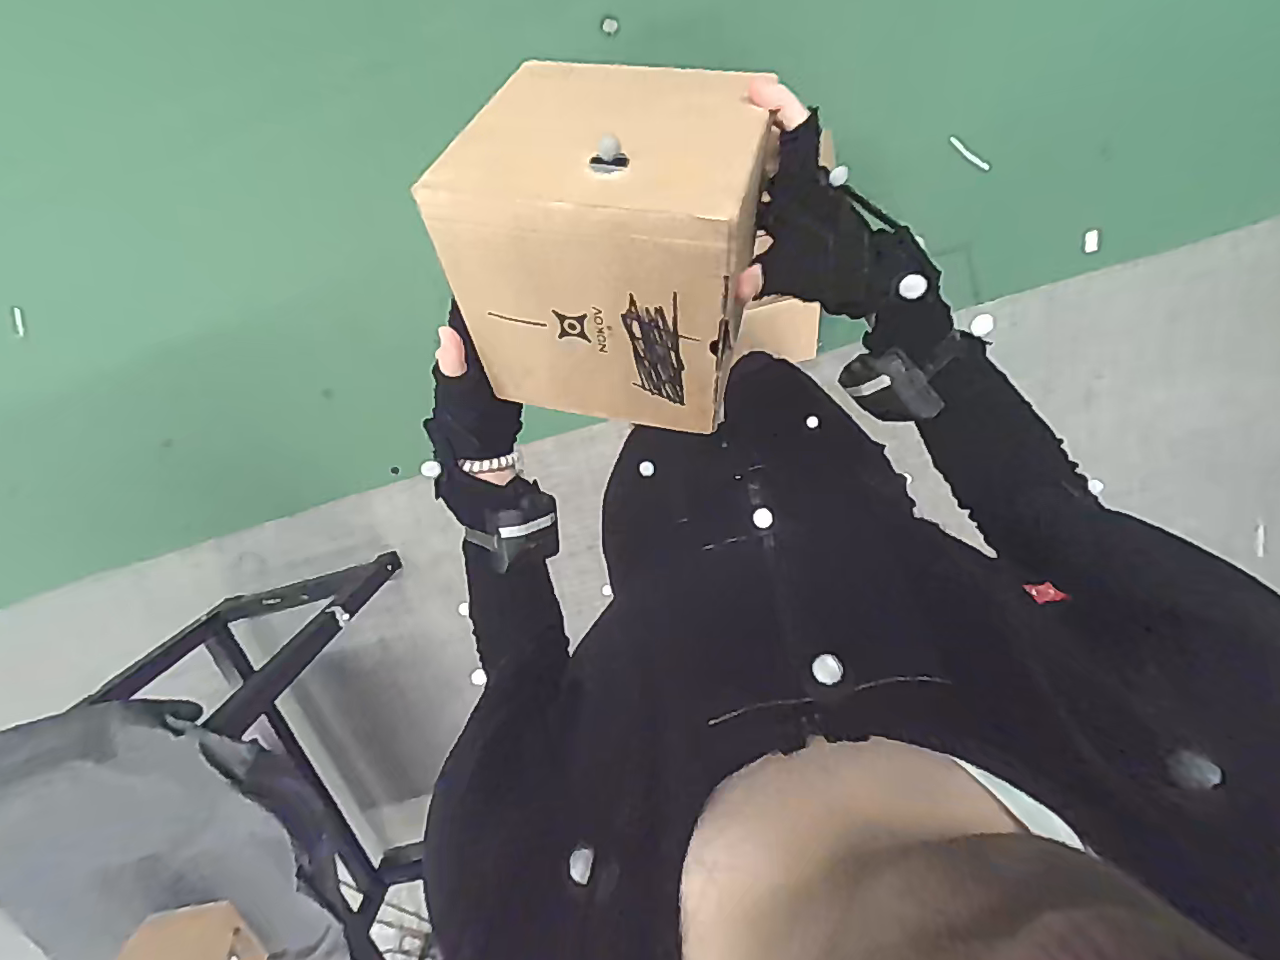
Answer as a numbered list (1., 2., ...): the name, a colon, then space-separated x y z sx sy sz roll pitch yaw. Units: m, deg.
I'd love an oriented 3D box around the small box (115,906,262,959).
1. small box: -0.830 0.903 0.954 0.179 0.176 0.168 -14 108 5
